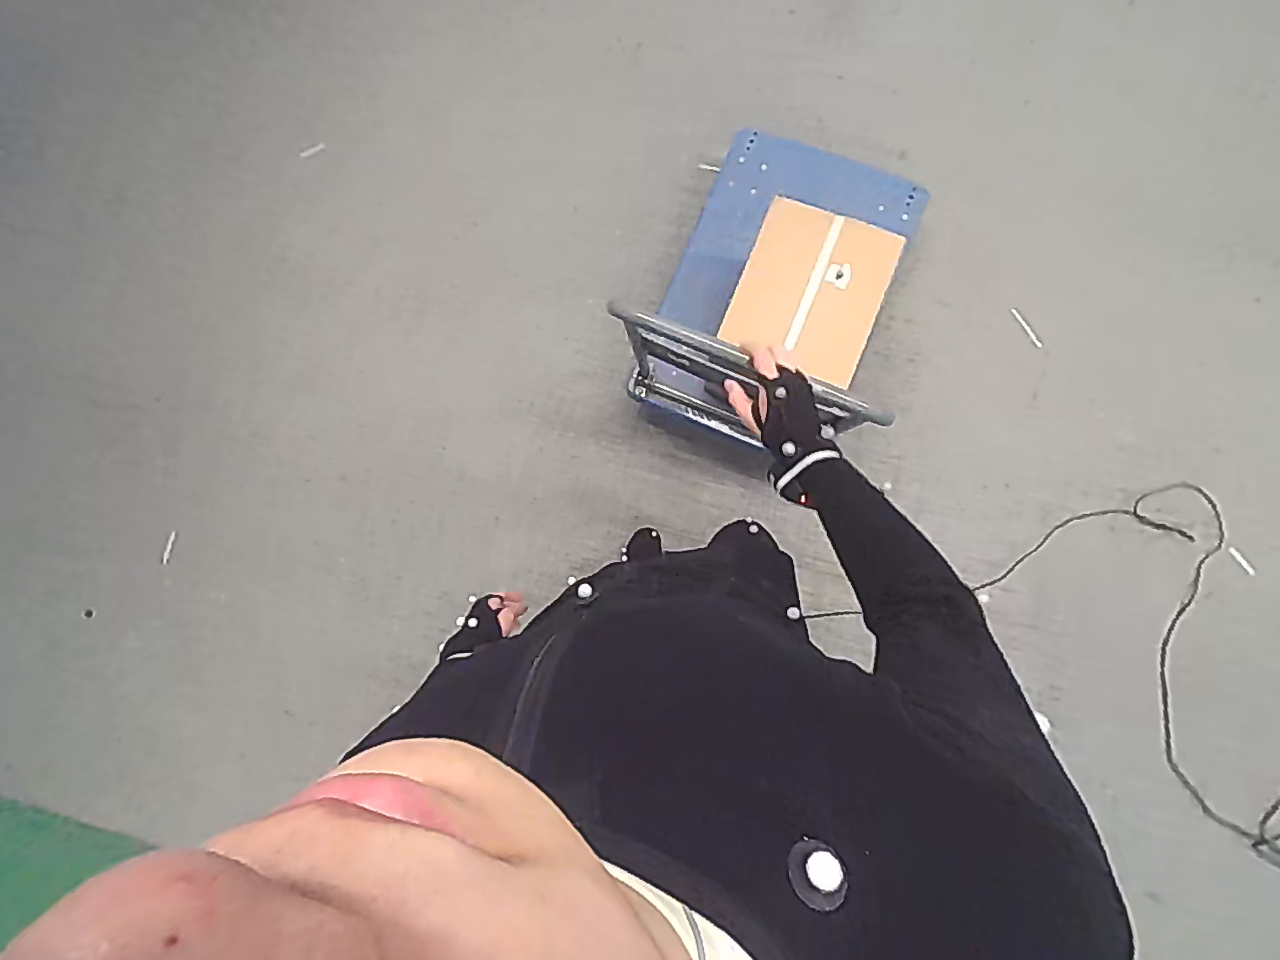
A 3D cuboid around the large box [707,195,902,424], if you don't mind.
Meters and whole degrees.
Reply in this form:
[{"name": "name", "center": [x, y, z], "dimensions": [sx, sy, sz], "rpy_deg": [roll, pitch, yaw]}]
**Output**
[{"name": "large box", "center": [0.385, -0.399, 1.356], "dimensions": [0.320, 0.320, 0.408], "rpy_deg": [23, 86, 5]}]
